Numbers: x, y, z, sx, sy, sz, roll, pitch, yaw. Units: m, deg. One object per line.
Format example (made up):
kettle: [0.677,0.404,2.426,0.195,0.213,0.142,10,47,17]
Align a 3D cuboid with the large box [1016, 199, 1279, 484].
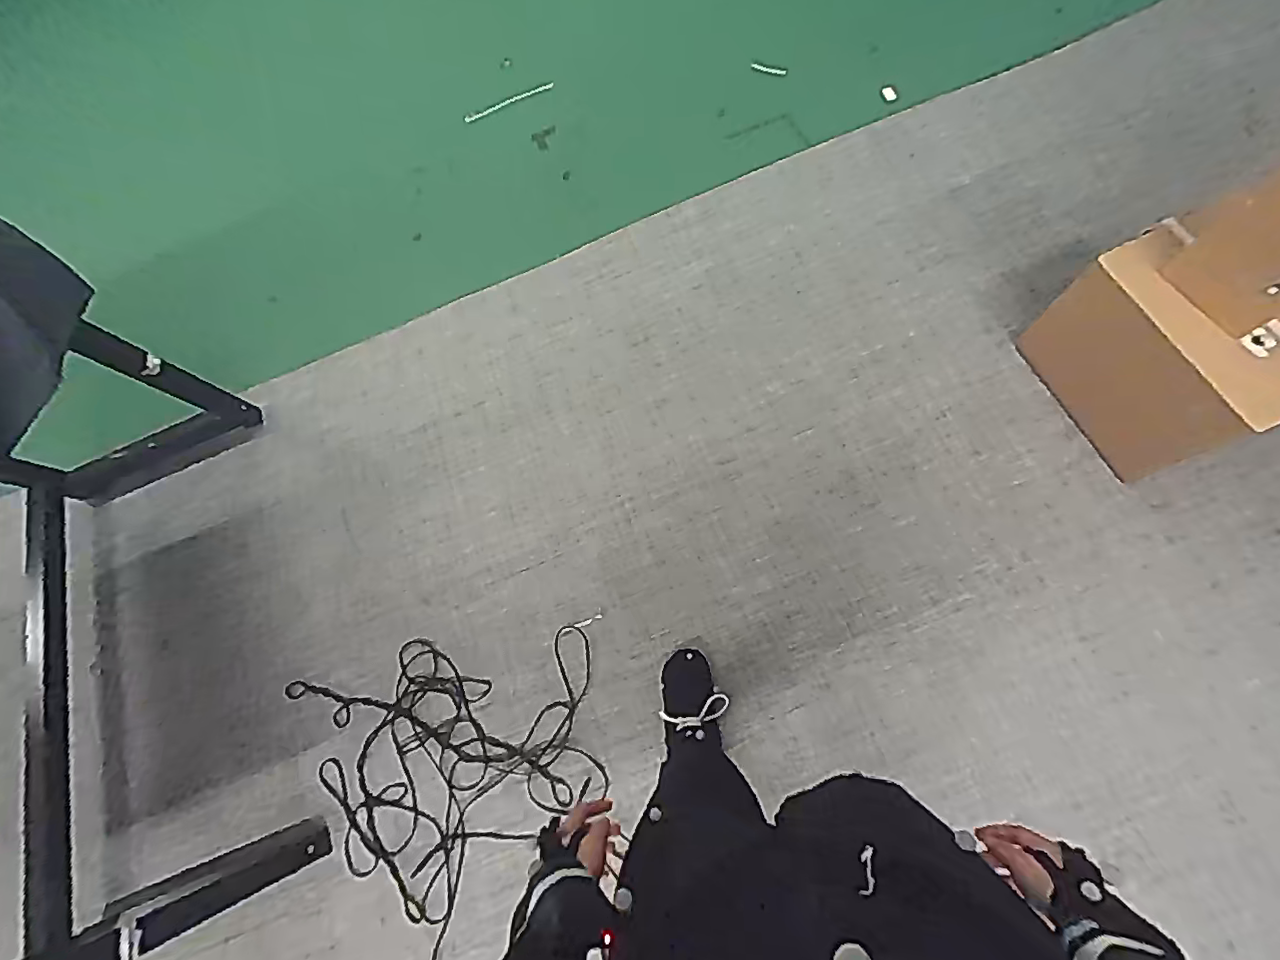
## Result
large box: [1.098,-0.262,1.103,0.320,0.320,0.408,-26,72,1]
